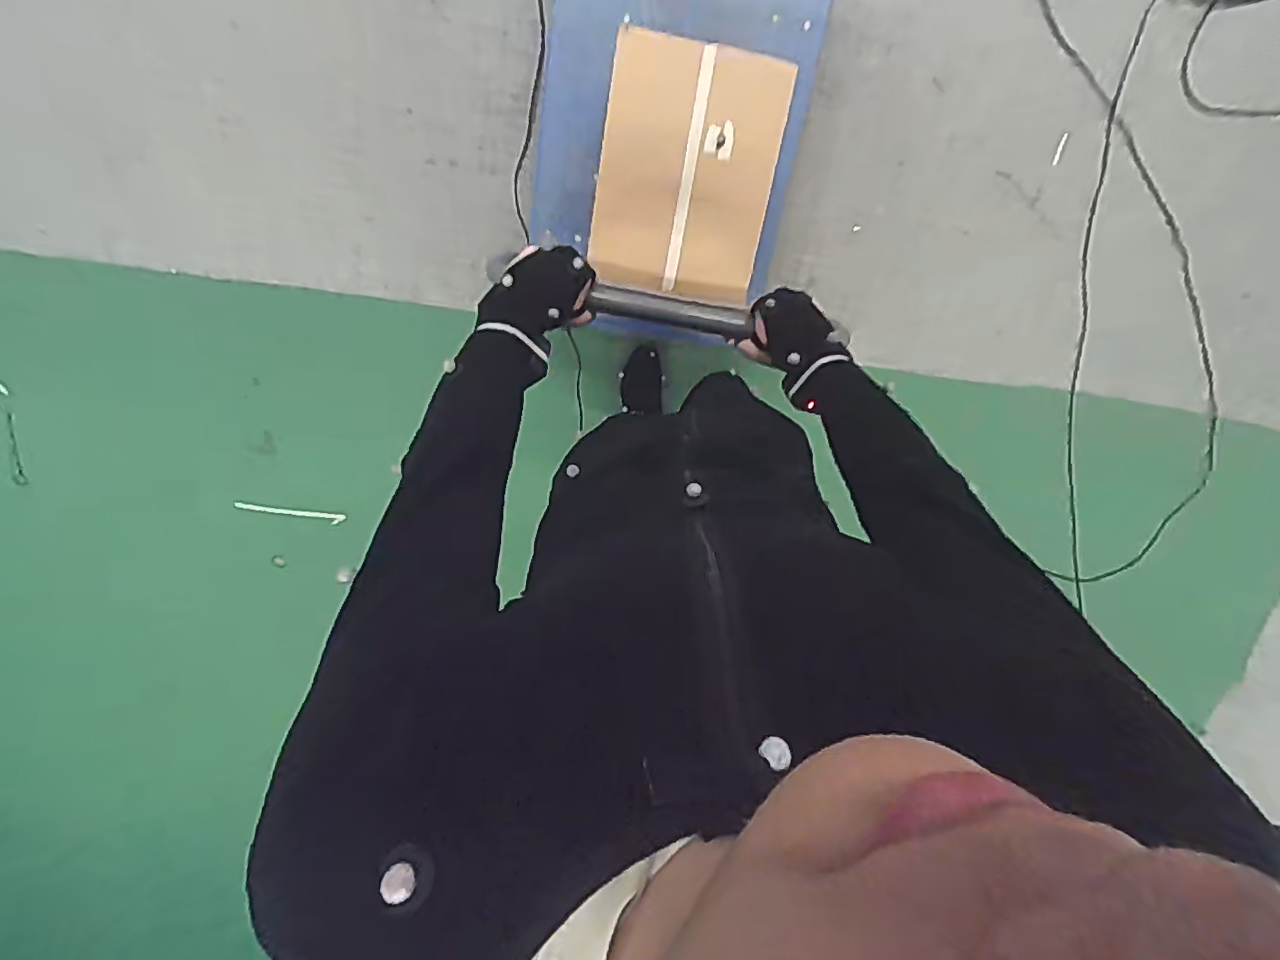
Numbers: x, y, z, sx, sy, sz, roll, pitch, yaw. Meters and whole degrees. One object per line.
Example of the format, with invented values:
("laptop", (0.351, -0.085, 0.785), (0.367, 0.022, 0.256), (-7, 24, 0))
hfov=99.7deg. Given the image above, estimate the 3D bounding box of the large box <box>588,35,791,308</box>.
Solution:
("large box", (0.076, -0.583, 1.116), (0.320, 0.320, 0.408), (8, 107, -6))
